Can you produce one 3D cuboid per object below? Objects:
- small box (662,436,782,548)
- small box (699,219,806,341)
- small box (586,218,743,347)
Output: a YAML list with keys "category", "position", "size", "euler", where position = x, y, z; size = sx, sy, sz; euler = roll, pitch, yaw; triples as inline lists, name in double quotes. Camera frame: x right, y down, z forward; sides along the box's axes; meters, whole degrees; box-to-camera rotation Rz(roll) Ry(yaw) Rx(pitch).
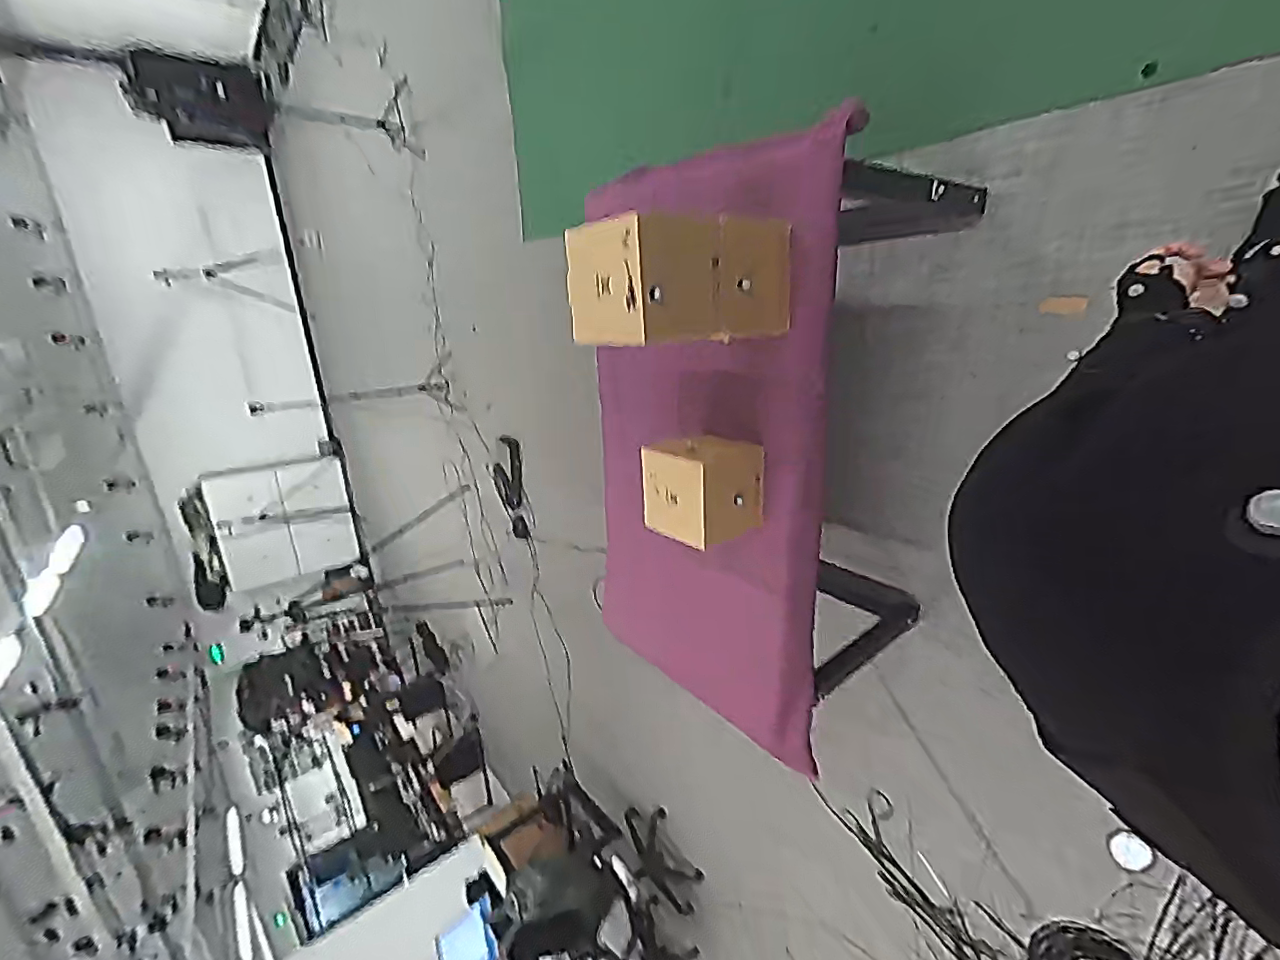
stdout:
- category: "small box"
  position: [0.164, 0.014, 1.077]
  size: [0.179, 0.176, 0.168]
  euler: [19, 118, 51]
- category: "small box"
  position: [0.169, -0.337, 0.929]
  size: [0.168, 0.176, 0.179]
  euler: [16, 117, 50]
- category: "small box"
  position: [0.039, -0.300, 0.837]
  size: [0.179, 0.176, 0.168]
  euler: [17, 119, 50]
